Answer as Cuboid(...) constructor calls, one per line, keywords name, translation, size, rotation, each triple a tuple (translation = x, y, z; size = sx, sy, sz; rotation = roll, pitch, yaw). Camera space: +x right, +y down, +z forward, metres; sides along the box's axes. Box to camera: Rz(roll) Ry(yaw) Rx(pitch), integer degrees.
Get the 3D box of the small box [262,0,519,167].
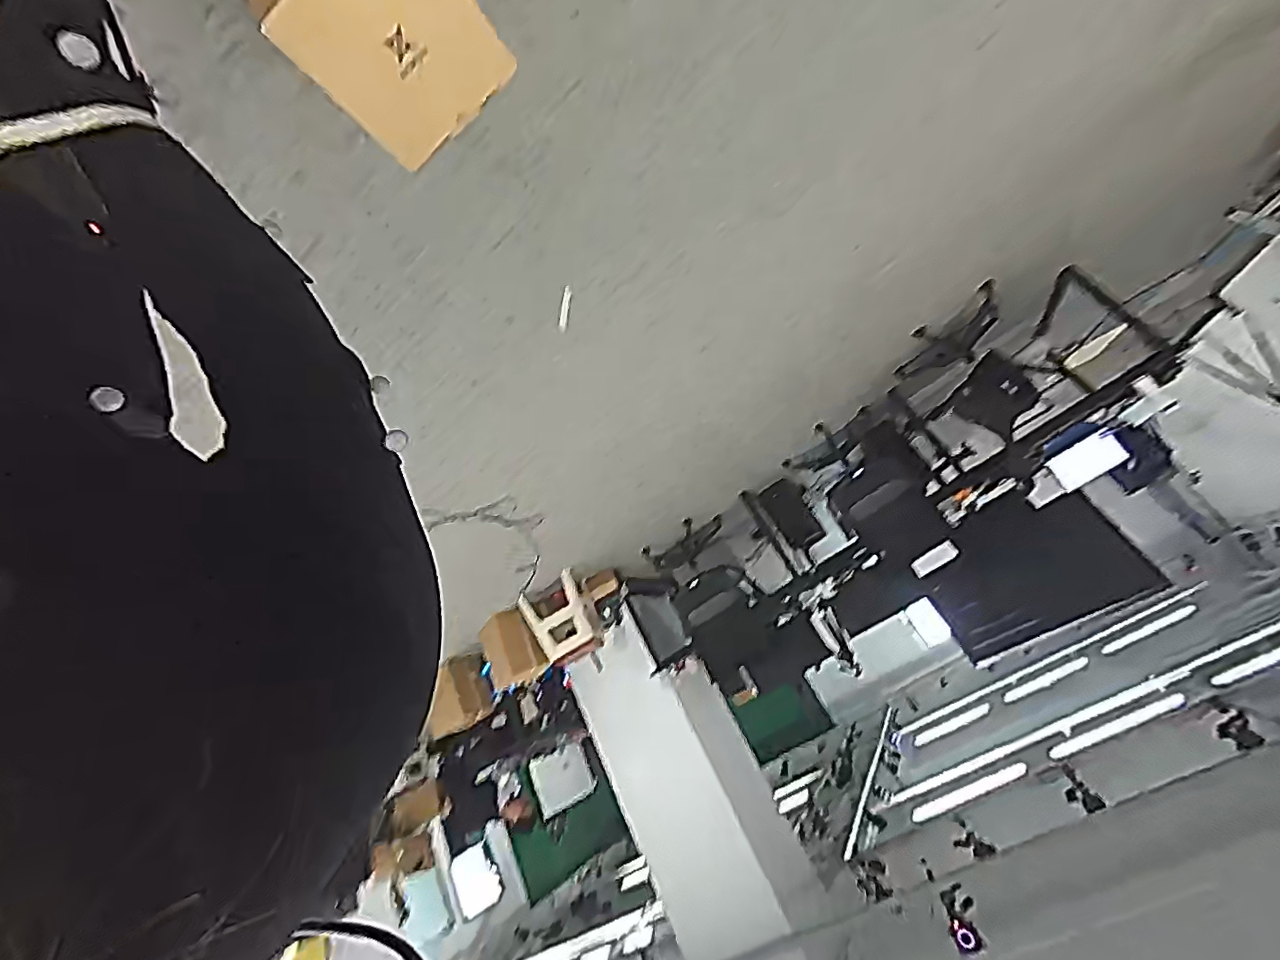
Cuboid(name="small box", translation=(-0.263, -0.481, 0.554), size=(0.168, 0.176, 0.179), rotation=(-35, 156, 12))
